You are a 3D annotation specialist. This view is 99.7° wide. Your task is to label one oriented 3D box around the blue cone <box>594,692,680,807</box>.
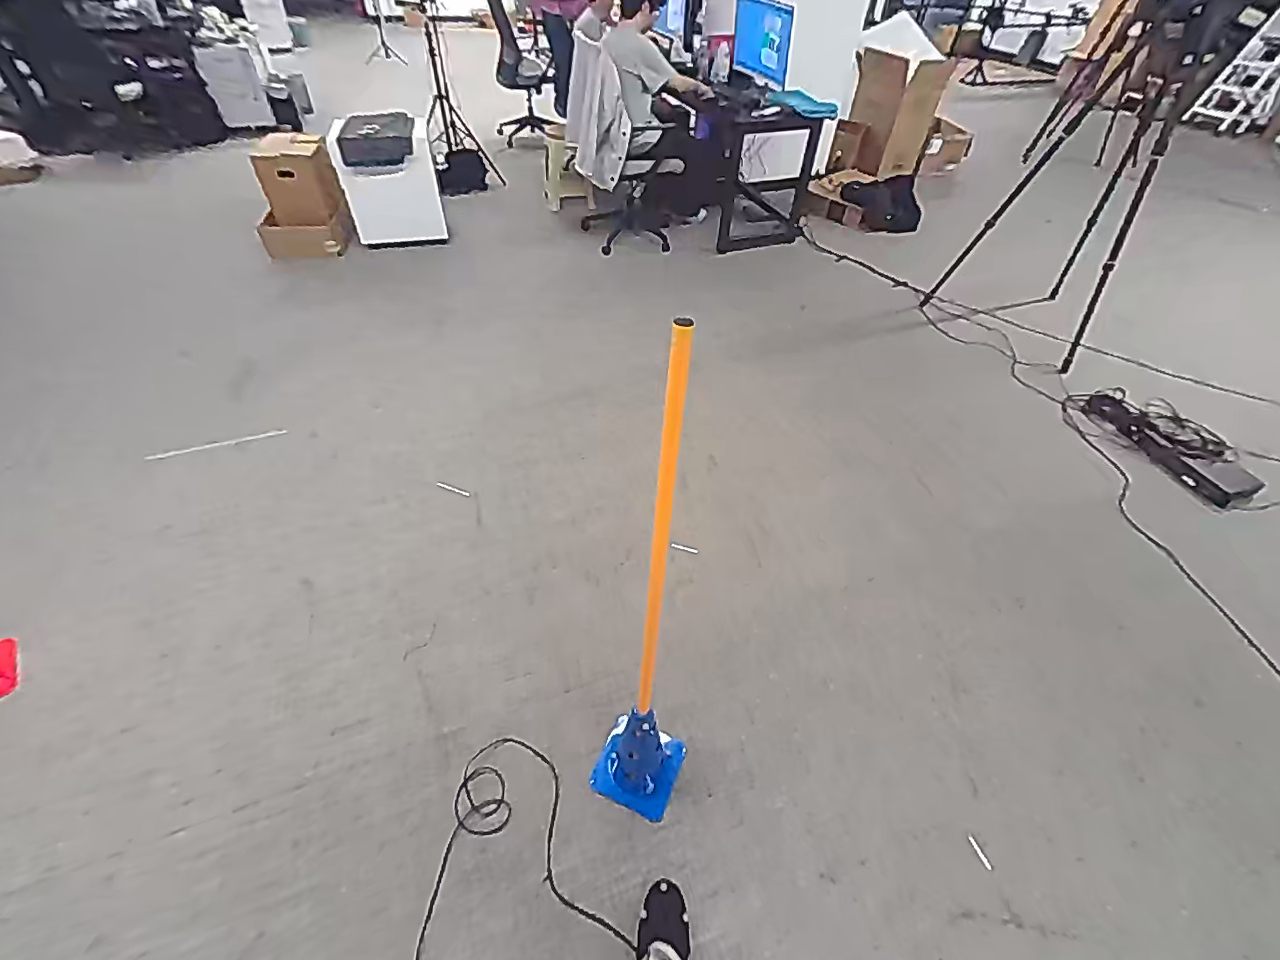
[{"bbox_3d":[-0.001,0.590,1.262,0.192,0.380,0.193,18,46,14],"label":"blue cone"}]
